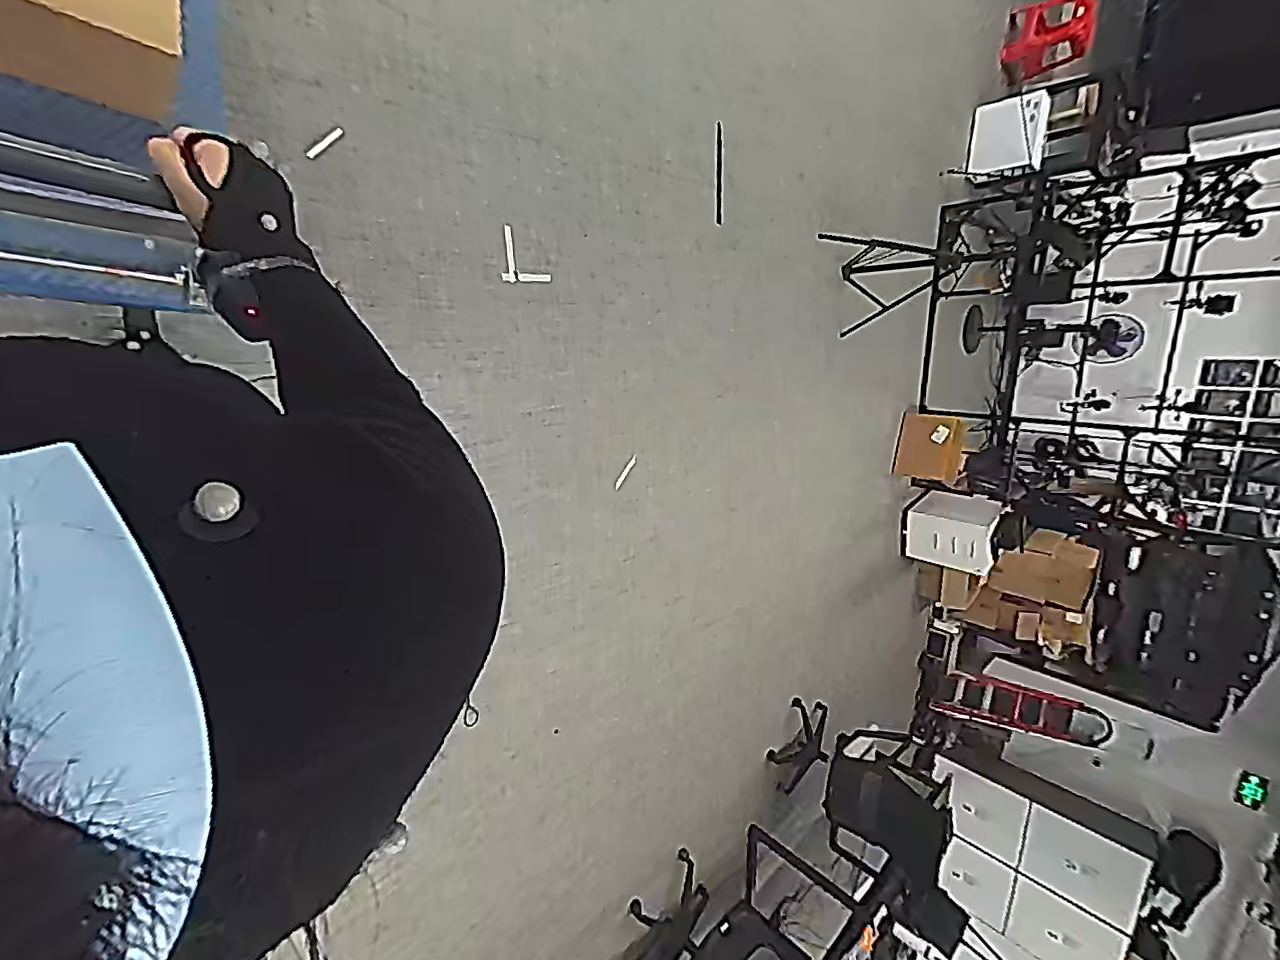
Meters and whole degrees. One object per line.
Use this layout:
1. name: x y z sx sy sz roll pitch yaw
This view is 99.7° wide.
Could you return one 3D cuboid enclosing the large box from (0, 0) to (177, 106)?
1. large box: -0.865 -0.756 0.681 0.408 0.320 0.320 -4 102 -43
